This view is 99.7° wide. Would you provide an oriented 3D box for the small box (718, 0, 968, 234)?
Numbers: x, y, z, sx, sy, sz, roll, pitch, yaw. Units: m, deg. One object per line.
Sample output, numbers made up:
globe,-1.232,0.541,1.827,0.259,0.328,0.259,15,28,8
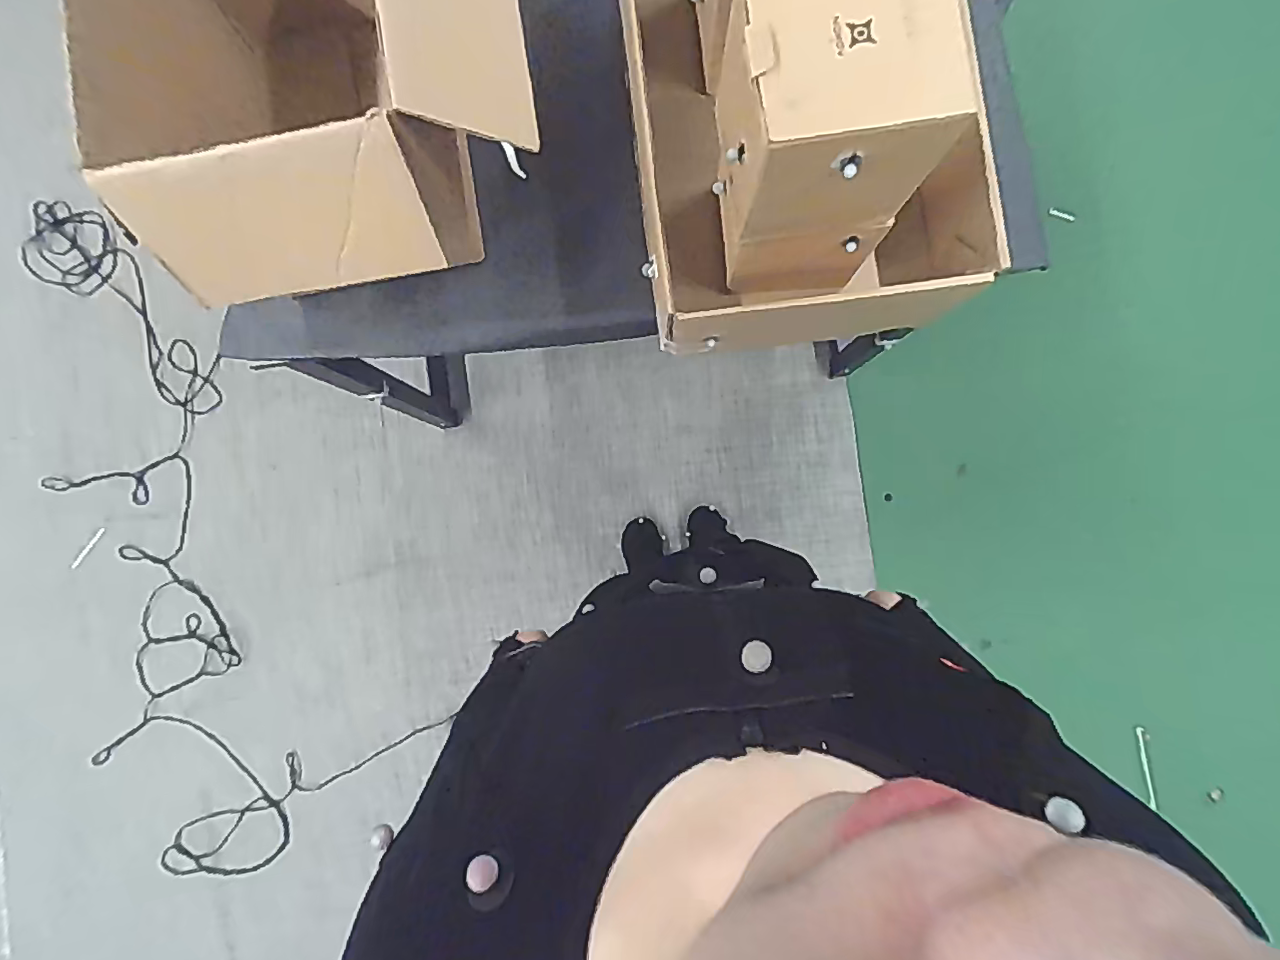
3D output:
small box,0.176,-0.365,0.529,0.179,0.176,0.168,-8,88,0
